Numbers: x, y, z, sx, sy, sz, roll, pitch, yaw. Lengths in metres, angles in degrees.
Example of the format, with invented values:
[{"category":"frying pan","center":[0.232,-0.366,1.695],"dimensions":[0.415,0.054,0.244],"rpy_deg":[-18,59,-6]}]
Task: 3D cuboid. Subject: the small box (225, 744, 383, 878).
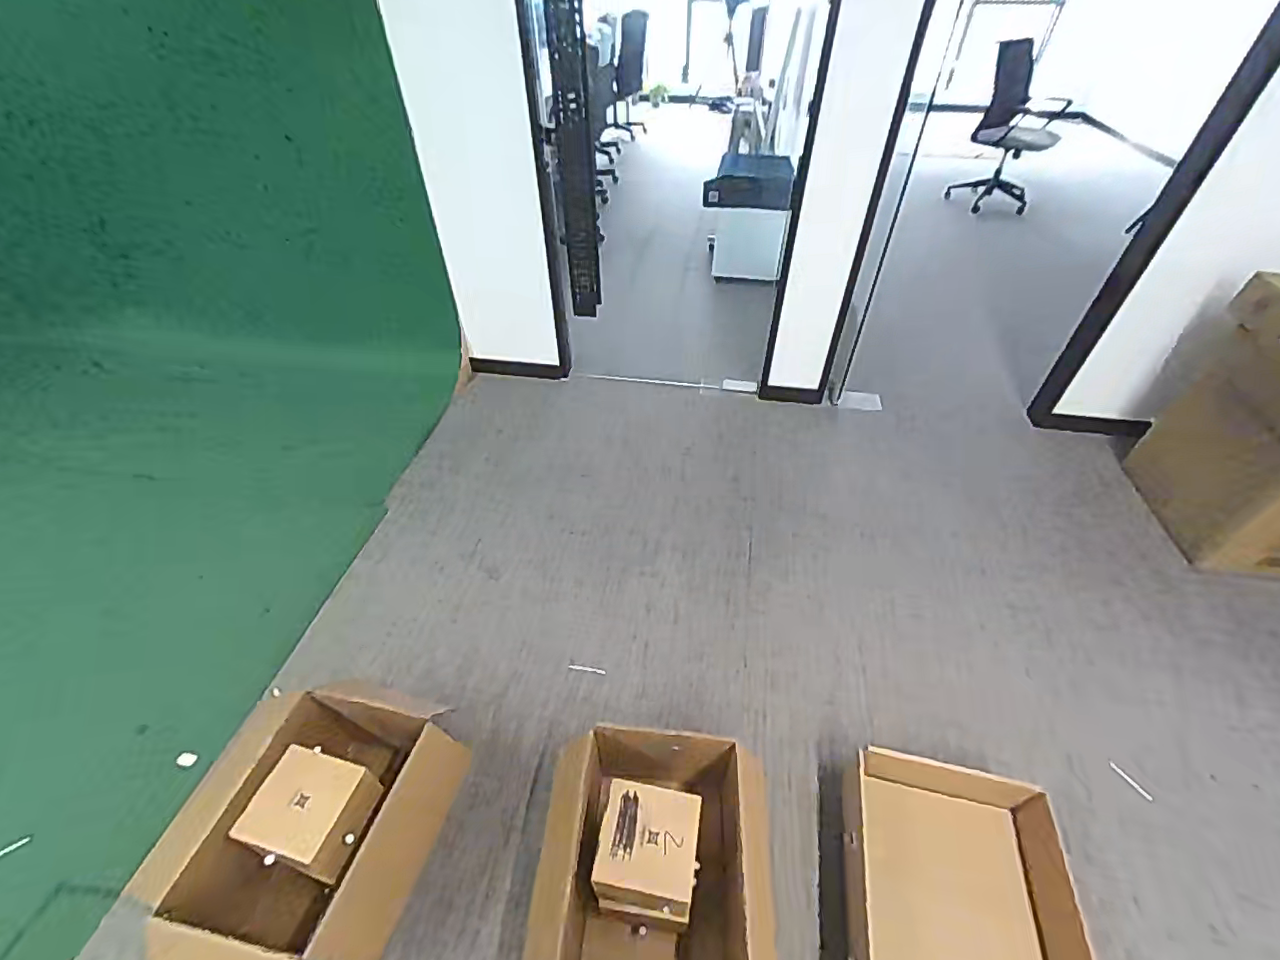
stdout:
[{"category":"small box","center":[-0.646,0.657,1.068],"dimensions":[0.179,0.176,0.168],"rpy_deg":[11,44,9]}]
